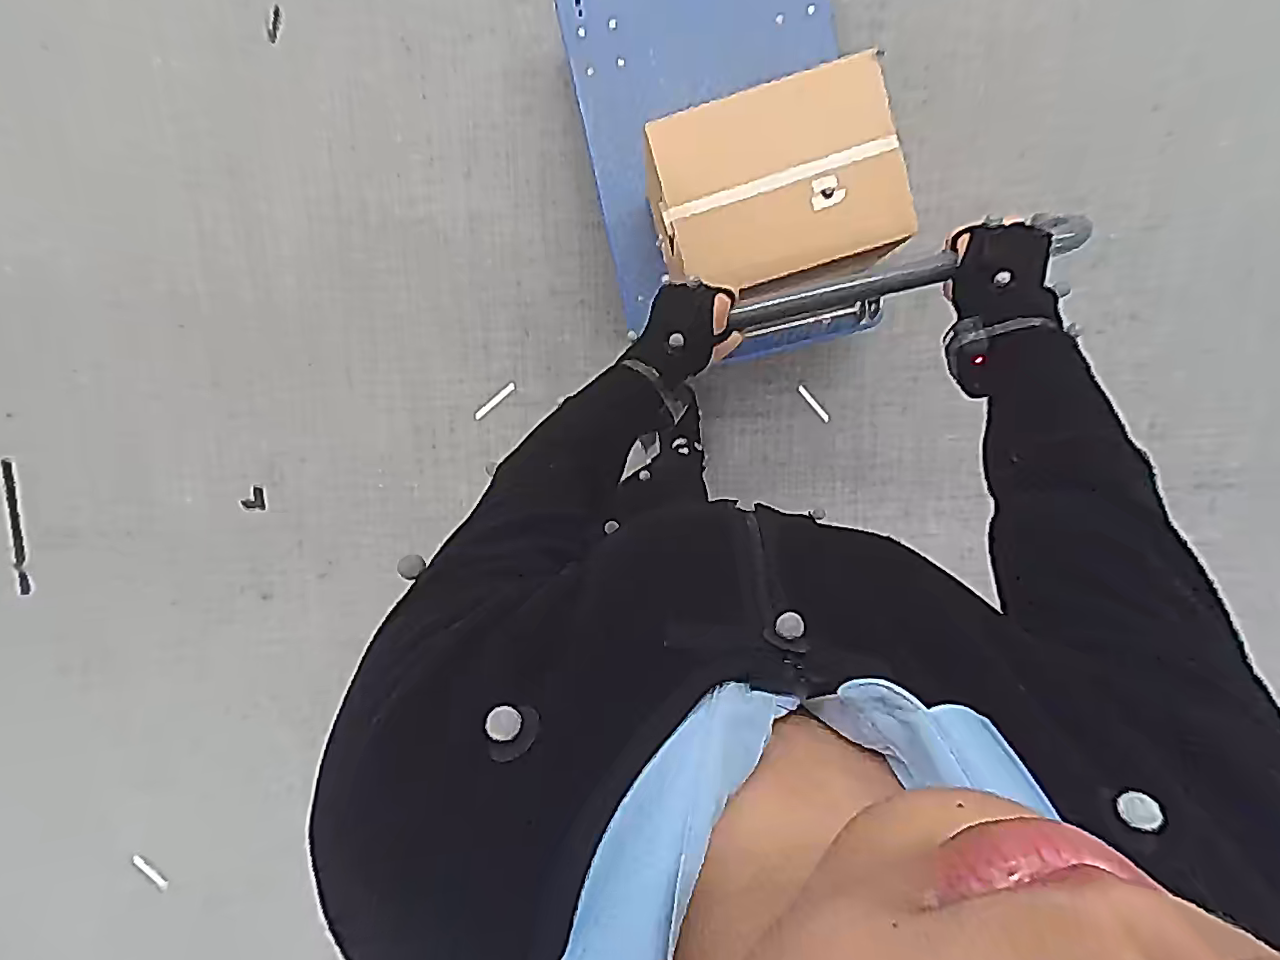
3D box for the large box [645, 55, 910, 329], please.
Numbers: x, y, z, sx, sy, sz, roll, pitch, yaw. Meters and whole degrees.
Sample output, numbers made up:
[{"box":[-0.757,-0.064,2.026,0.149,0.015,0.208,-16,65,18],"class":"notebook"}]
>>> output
[{"box":[0.246,-0.537,1.092,0.408,0.320,0.320,-17,97,3],"class":"large box"}]
